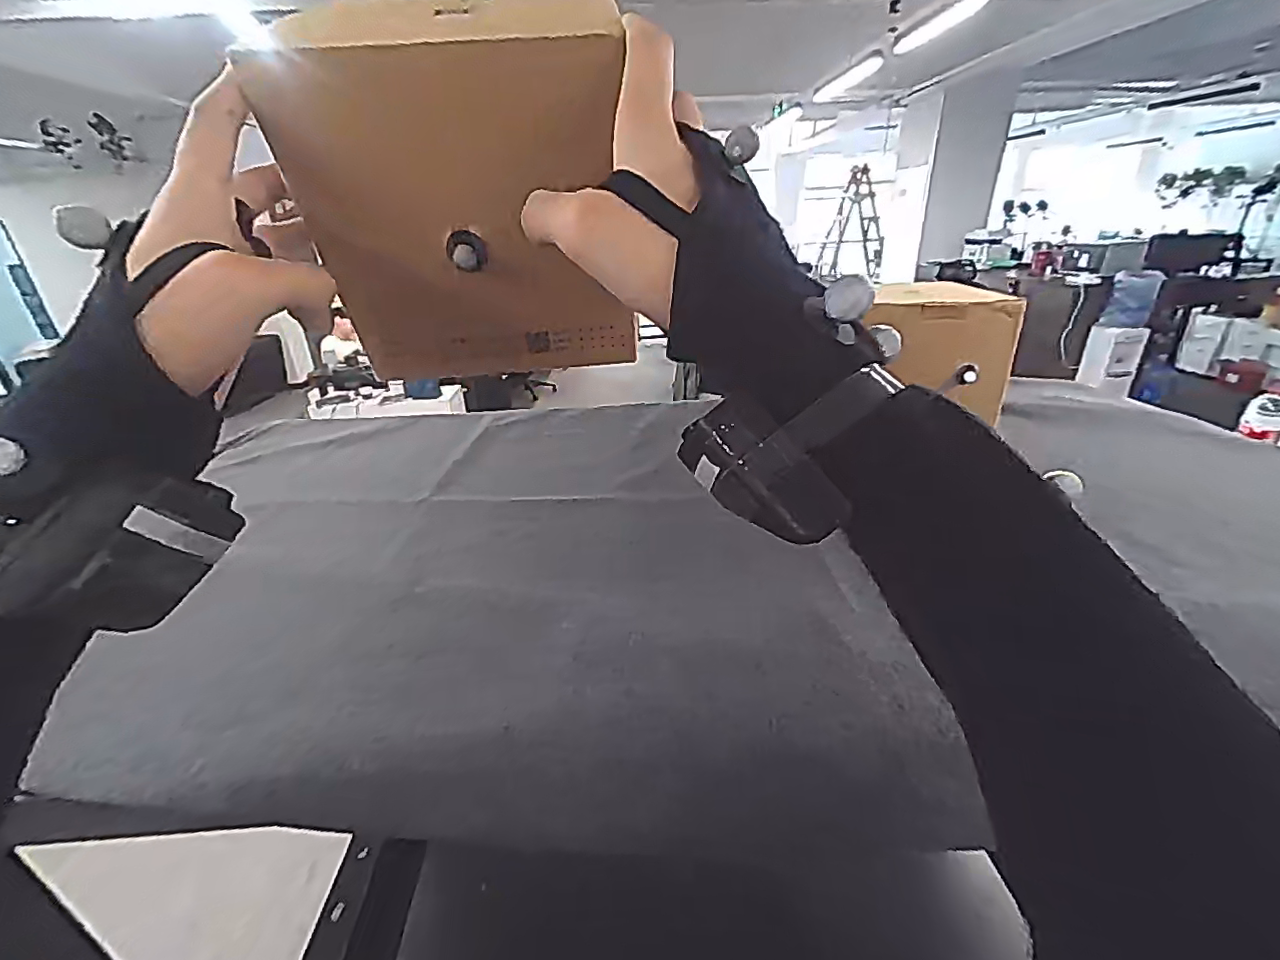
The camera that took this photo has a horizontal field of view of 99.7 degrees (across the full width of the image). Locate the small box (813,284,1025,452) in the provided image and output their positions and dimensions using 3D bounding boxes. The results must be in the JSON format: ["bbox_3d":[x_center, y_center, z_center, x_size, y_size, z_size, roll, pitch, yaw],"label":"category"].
[{"bbox_3d":[0.319,-0.139,0.660,0.168,0.176,0.179,0,25,3],"label":"small box"}]

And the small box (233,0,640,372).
[{"bbox_3d":[-0.089,-0.179,0.336,0.168,0.176,0.179,-4,46,-2],"label":"small box"}]
